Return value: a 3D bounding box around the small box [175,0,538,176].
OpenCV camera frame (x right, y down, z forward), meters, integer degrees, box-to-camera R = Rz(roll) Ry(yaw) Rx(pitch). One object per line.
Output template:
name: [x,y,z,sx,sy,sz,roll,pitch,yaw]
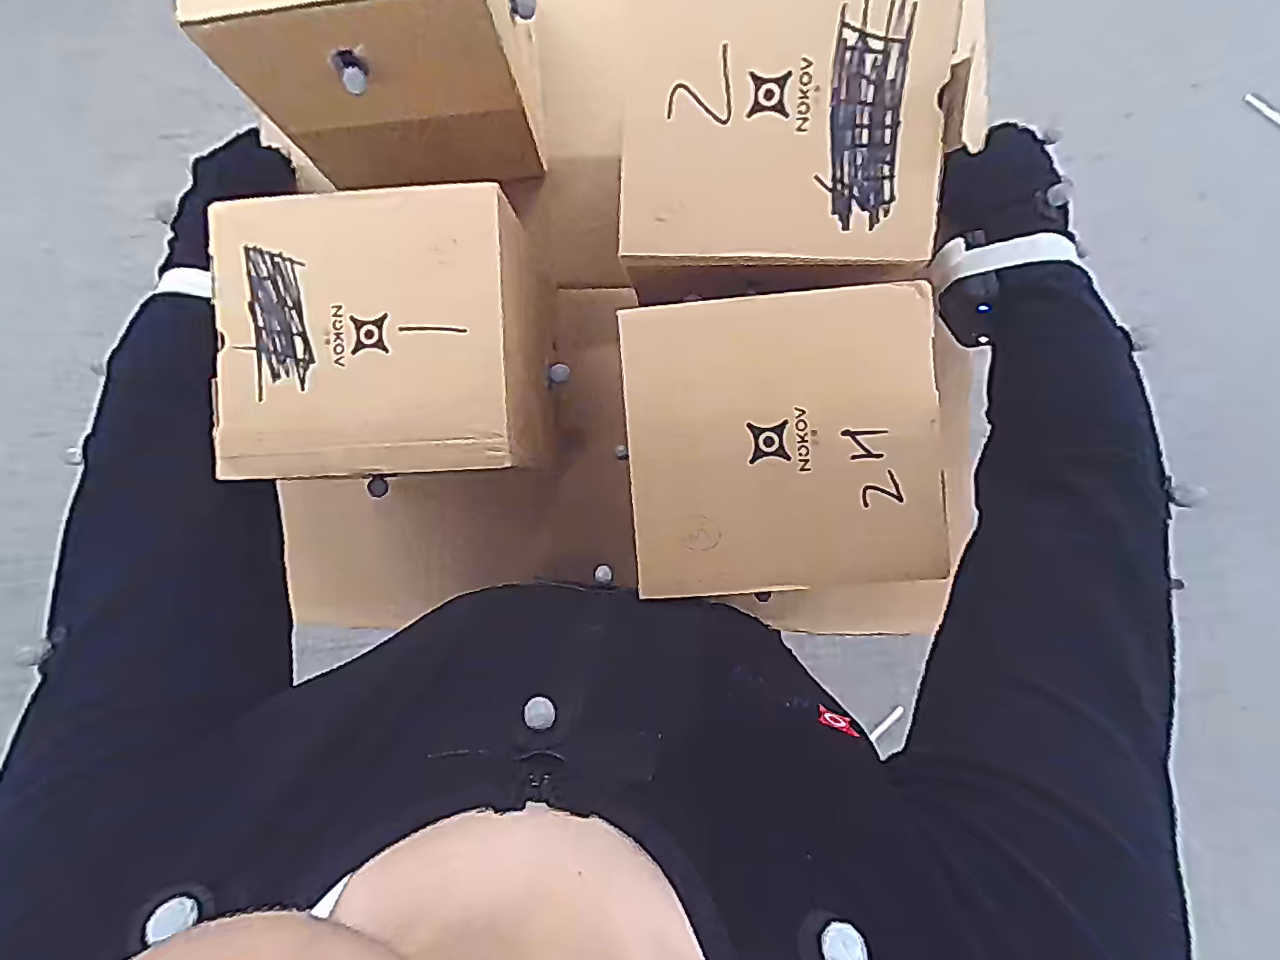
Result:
small box: [-0.175,-0.347,0.380,0.179,0.176,0.168,-5,86,4]
